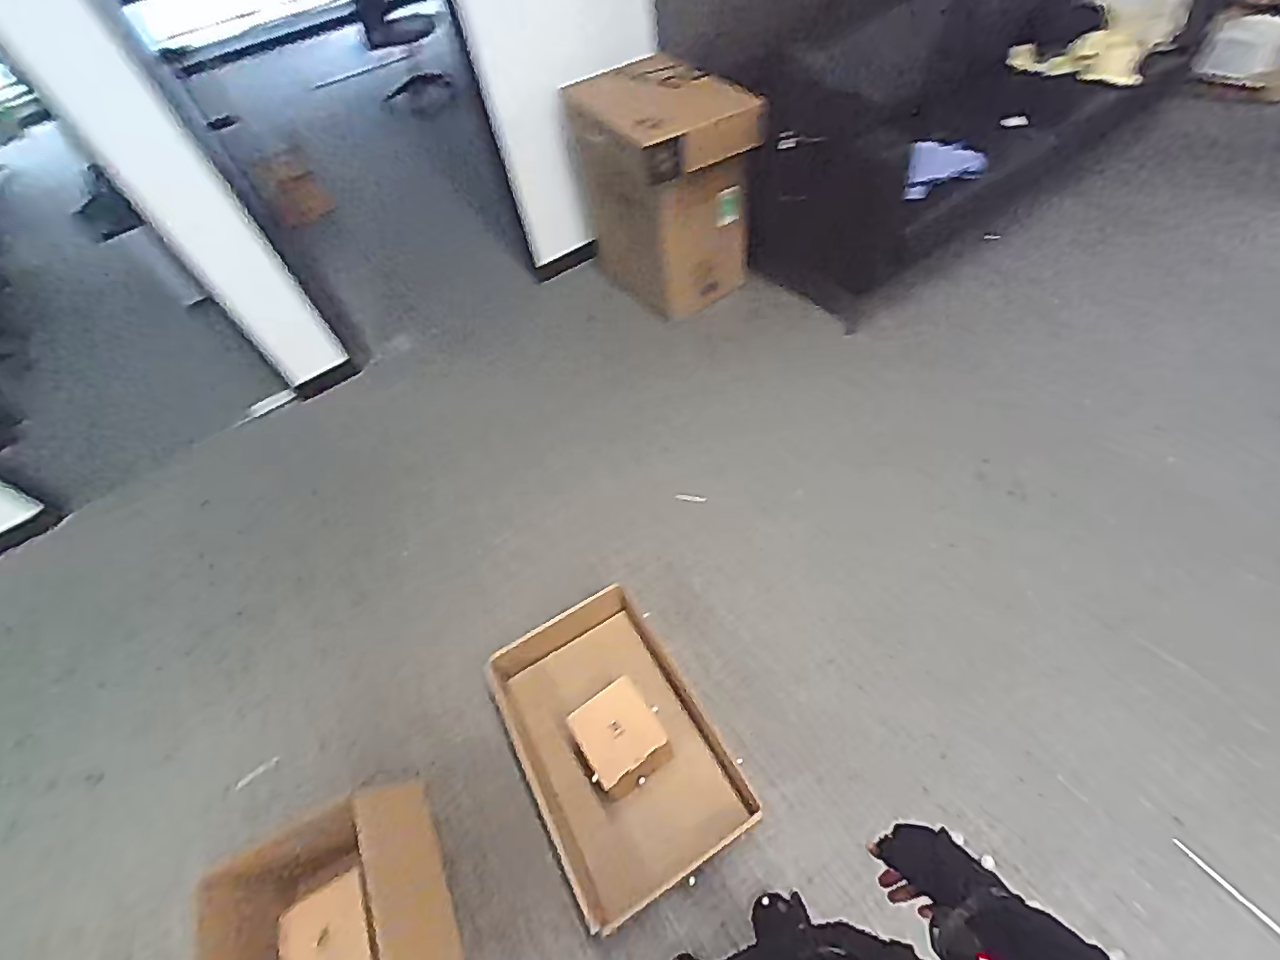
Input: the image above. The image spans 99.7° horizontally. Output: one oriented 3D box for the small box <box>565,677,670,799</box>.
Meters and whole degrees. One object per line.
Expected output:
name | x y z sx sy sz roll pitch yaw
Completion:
small box | -0.048 0.595 1.240 0.168 0.176 0.179 -33 55 -16
